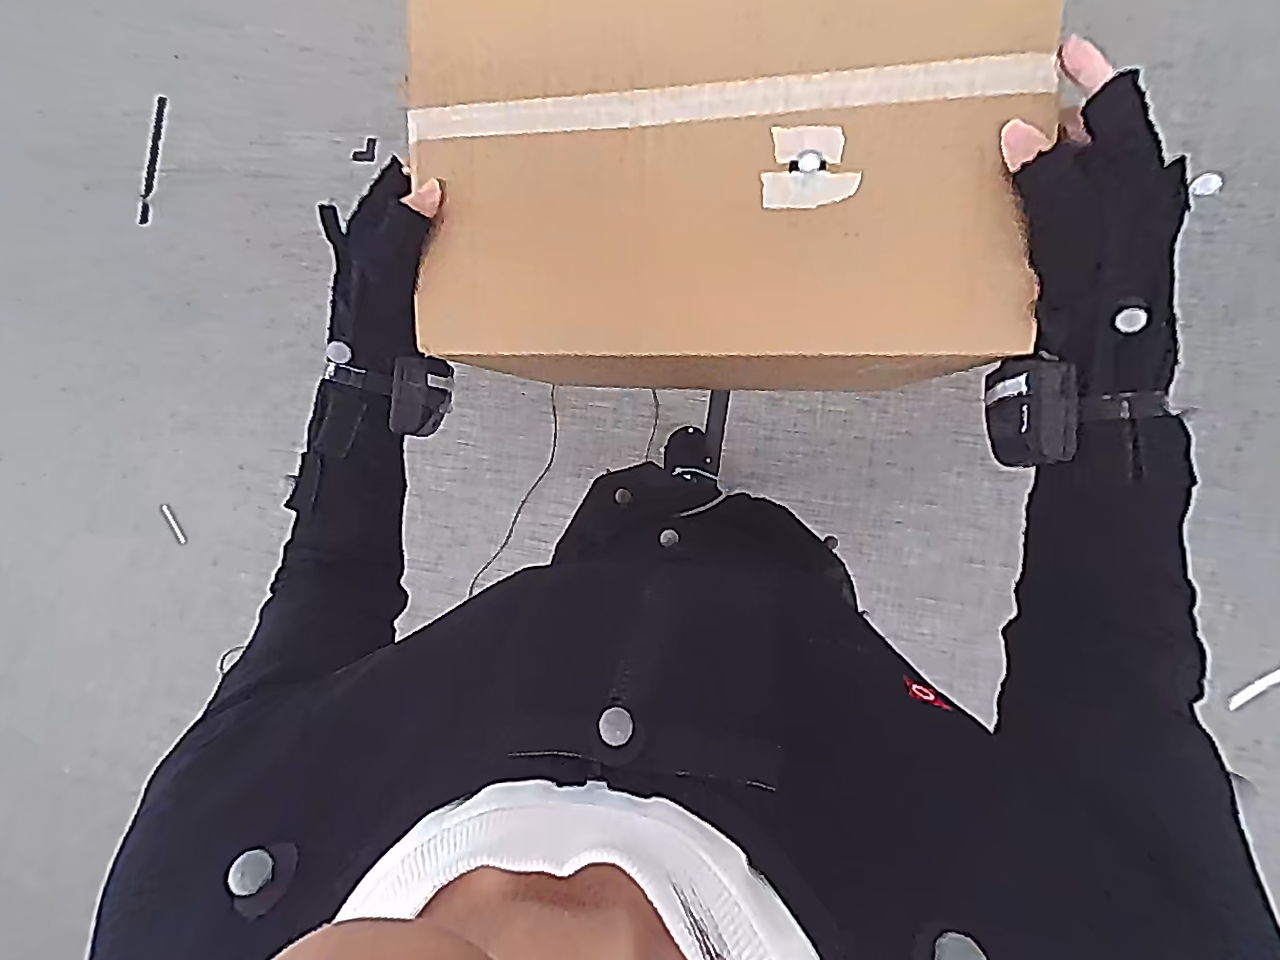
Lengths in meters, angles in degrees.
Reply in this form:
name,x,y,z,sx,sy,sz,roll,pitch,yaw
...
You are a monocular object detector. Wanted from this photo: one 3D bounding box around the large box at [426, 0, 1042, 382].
name,x,y,z,sx,sy,sz,roll,pitch,yaw
large box,0.065,-0.263,0.504,0.408,0.320,0.320,2,96,9
